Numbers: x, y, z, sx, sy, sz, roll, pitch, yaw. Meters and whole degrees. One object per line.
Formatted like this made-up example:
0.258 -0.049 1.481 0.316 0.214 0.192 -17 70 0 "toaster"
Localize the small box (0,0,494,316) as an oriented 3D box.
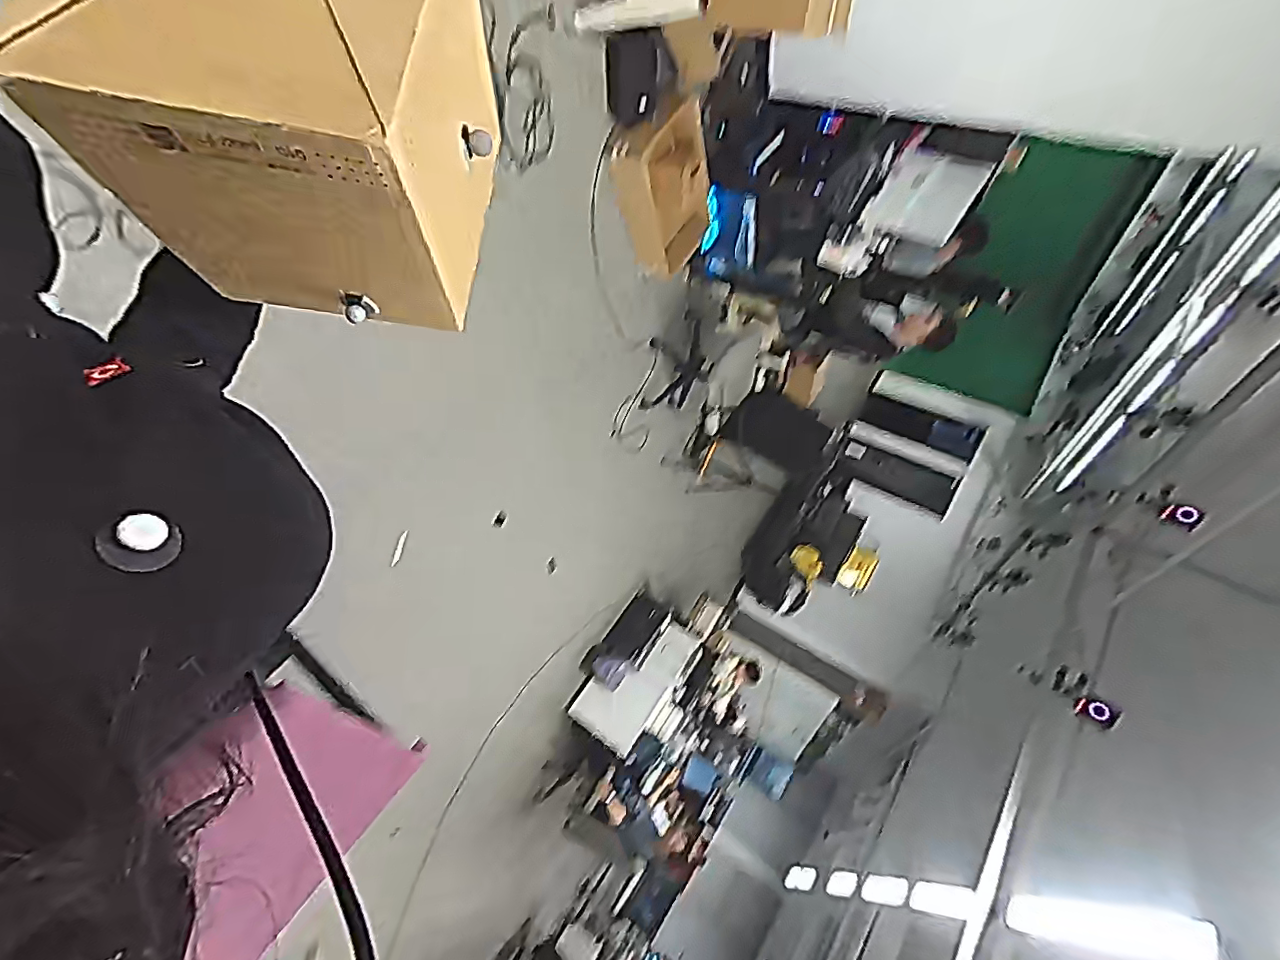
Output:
-0.188 -0.225 0.315 0.176 0.168 0.179 118 -22 -76 "small box"
